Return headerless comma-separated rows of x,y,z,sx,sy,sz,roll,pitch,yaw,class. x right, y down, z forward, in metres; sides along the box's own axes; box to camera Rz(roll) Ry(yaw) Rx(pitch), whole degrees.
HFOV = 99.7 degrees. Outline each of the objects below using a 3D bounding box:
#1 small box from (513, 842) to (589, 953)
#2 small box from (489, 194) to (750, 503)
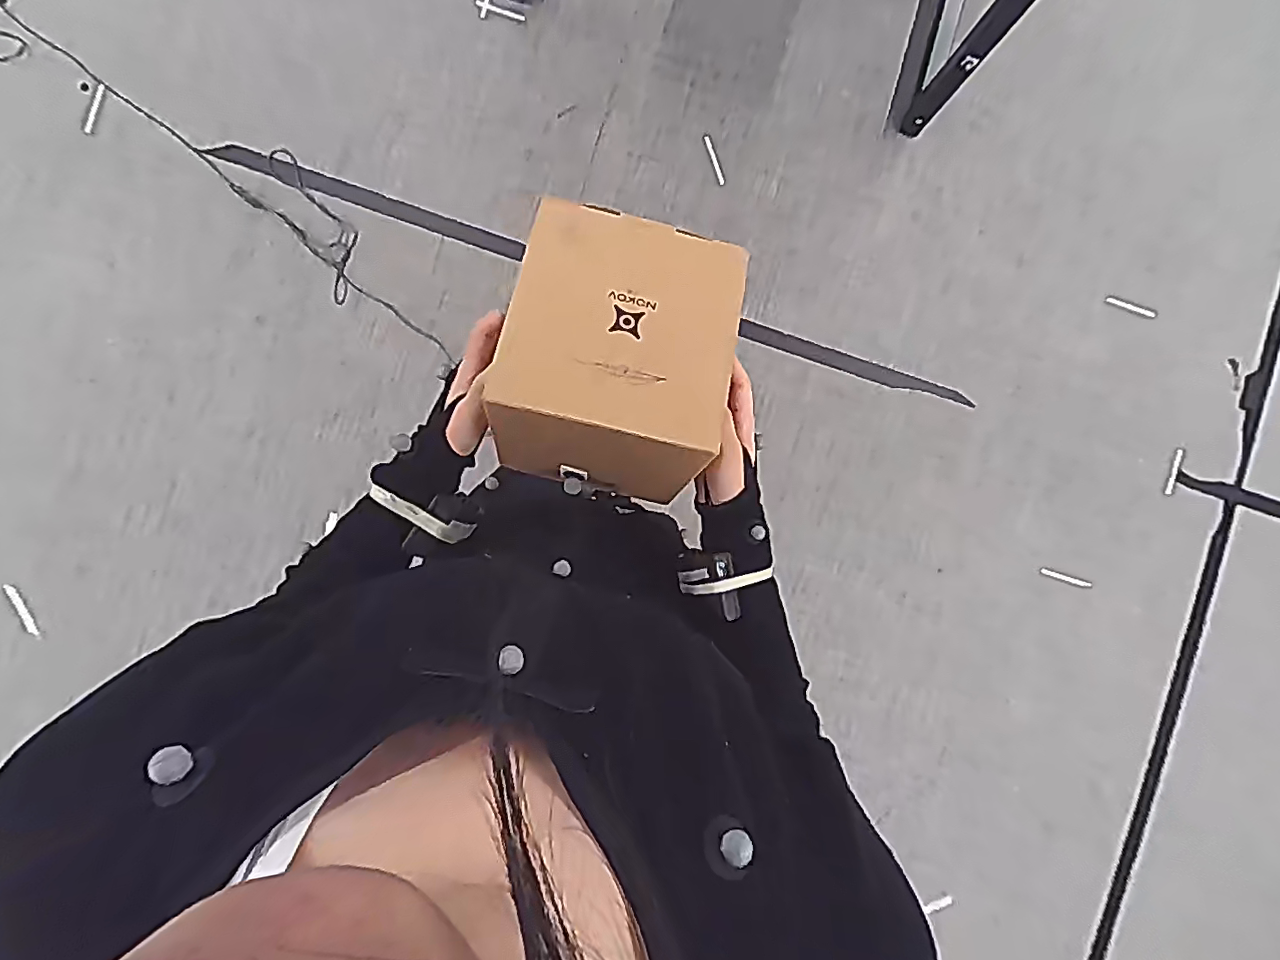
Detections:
-0.225,1.079,1.409,0.179,0.176,0.168,5,90,-4,small box
-0.021,-0.095,0.463,0.168,0.176,0.179,12,73,-6,small box
